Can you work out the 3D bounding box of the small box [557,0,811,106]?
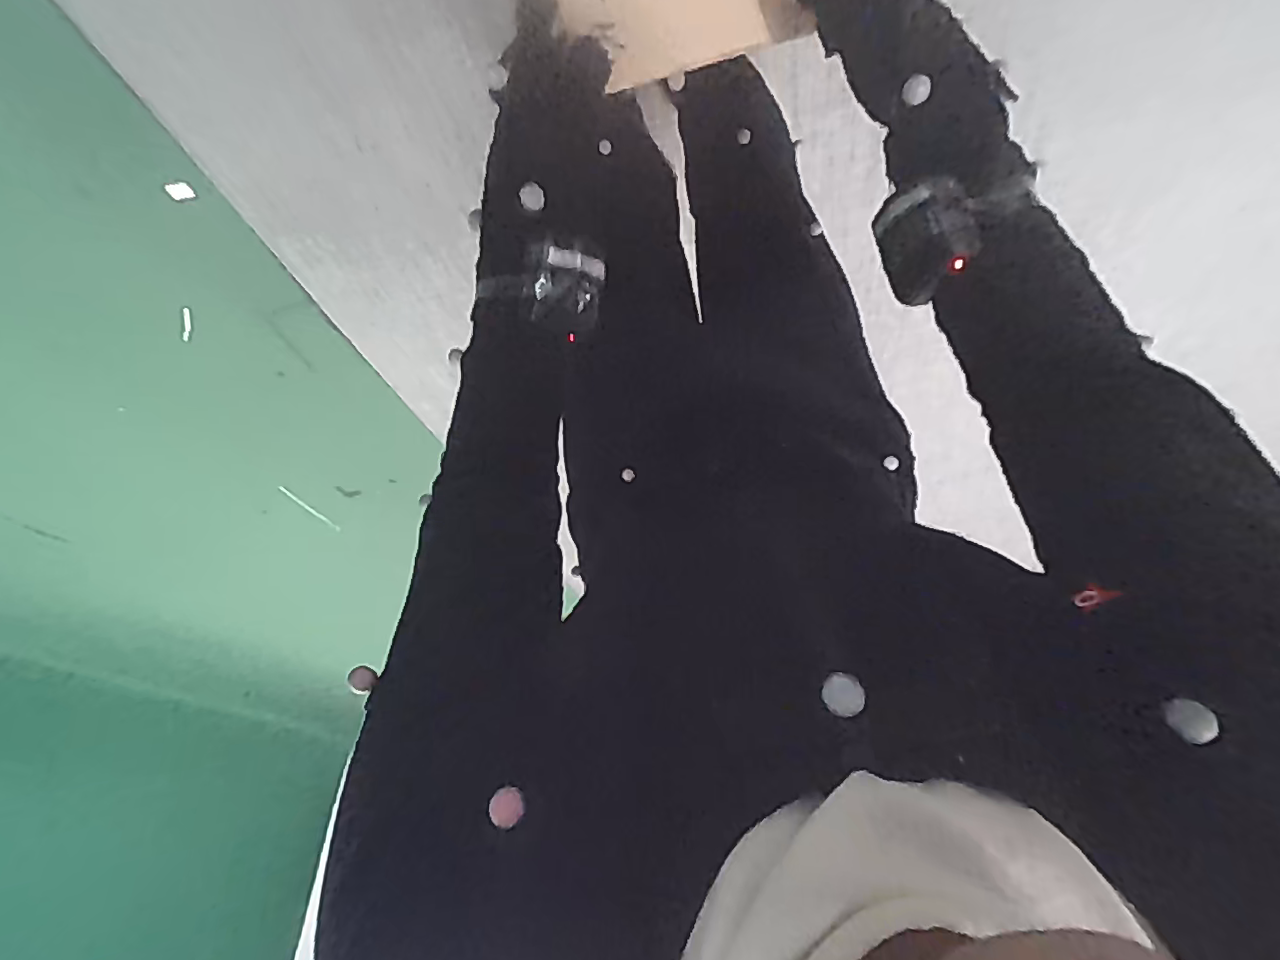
[{"bbox_3d":[0.015,-0.417,0.416,0.179,0.176,0.168,-15,128,7],"label":"small box"}]
